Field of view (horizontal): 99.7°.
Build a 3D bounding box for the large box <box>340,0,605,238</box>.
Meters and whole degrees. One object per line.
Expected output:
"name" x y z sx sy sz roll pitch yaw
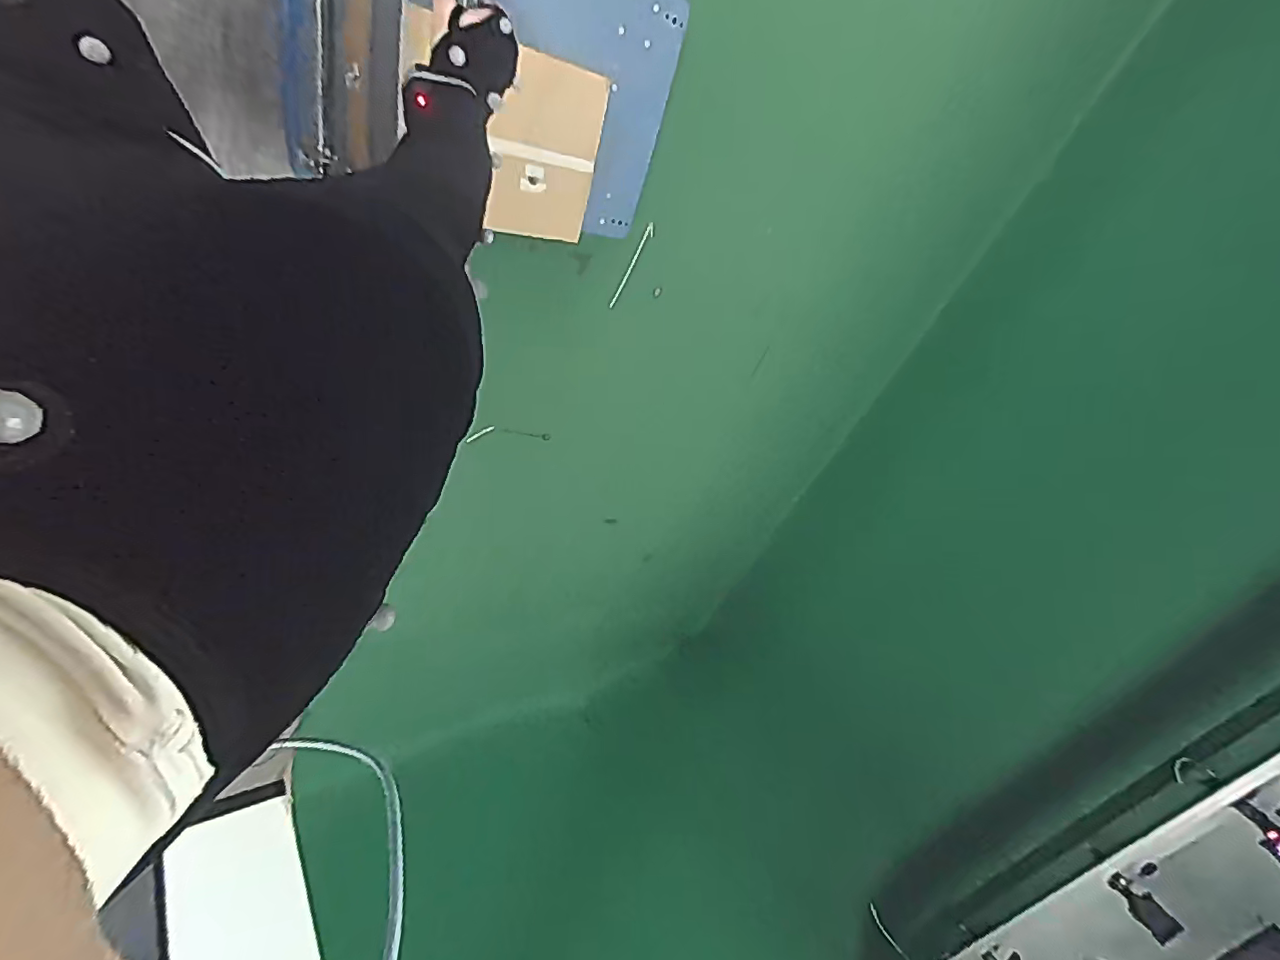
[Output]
"large box" -0.346 -0.719 1.099 0.408 0.320 0.320 -11 135 -38
